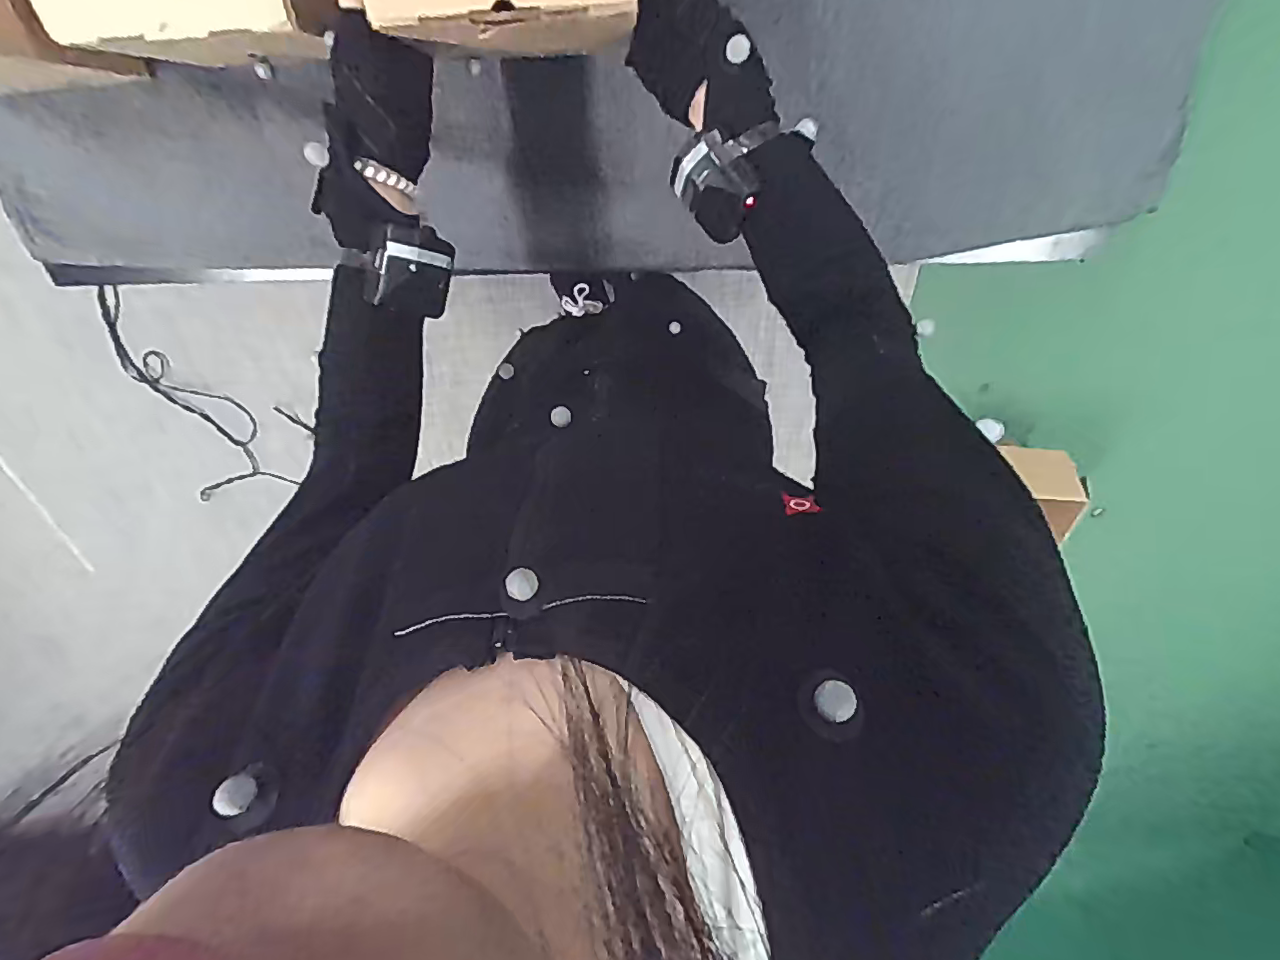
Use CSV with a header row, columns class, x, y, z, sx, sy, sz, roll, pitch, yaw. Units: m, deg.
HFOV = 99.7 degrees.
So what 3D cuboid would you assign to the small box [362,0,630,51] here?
class,x,y,z,sx,sy,sz,roll,pitch,yaw
small box,-0.092,-0.398,0.350,0.168,0.176,0.179,-4,121,-1
